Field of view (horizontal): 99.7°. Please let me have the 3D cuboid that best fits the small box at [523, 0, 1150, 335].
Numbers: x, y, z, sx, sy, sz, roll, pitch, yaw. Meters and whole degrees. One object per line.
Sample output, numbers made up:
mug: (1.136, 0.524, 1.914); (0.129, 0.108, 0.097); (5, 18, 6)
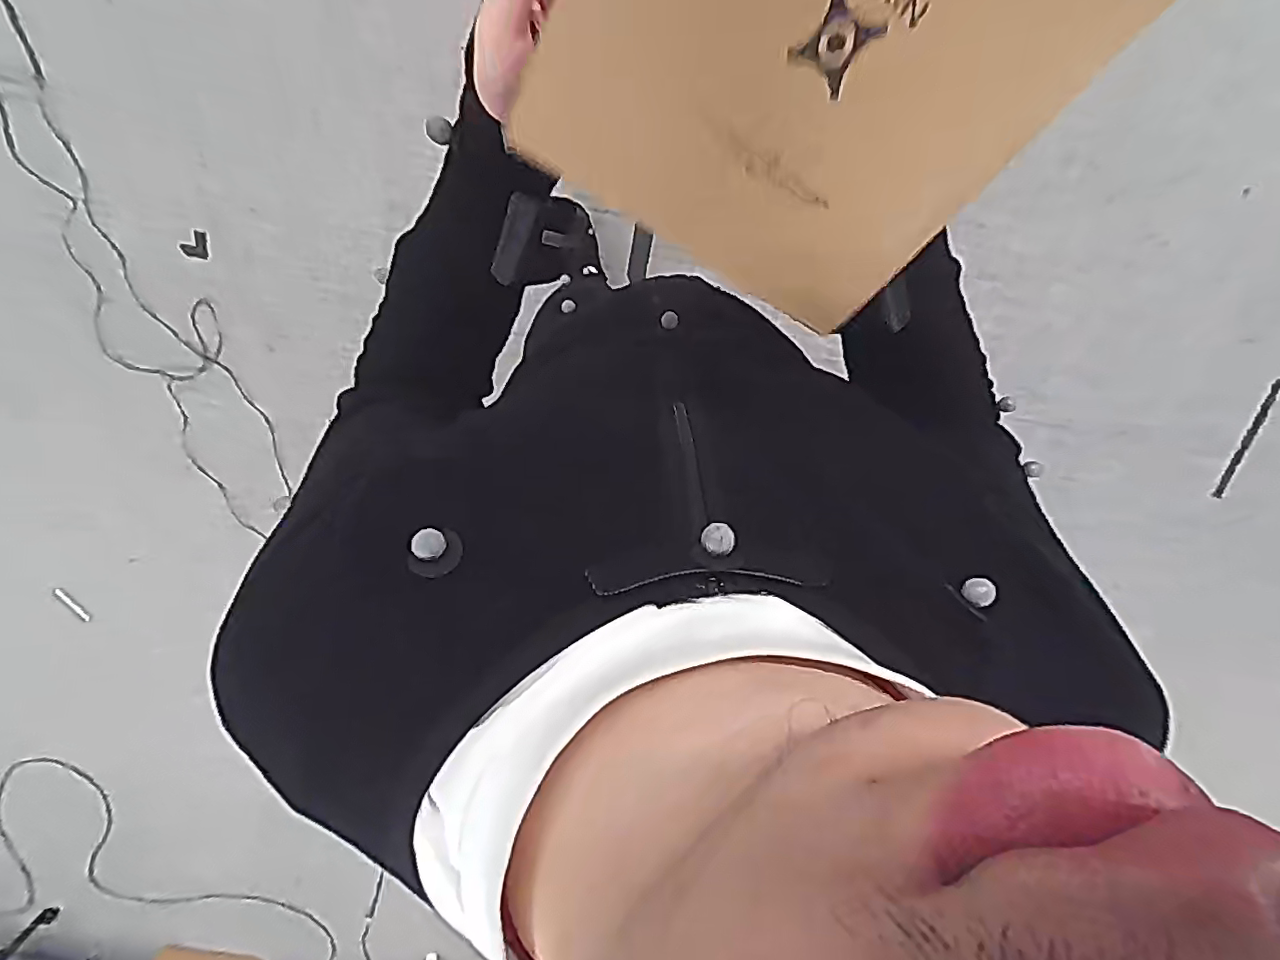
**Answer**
small box: (0.062, -0.207, 0.238); (0.168, 0.176, 0.179); (19, 136, -22)
